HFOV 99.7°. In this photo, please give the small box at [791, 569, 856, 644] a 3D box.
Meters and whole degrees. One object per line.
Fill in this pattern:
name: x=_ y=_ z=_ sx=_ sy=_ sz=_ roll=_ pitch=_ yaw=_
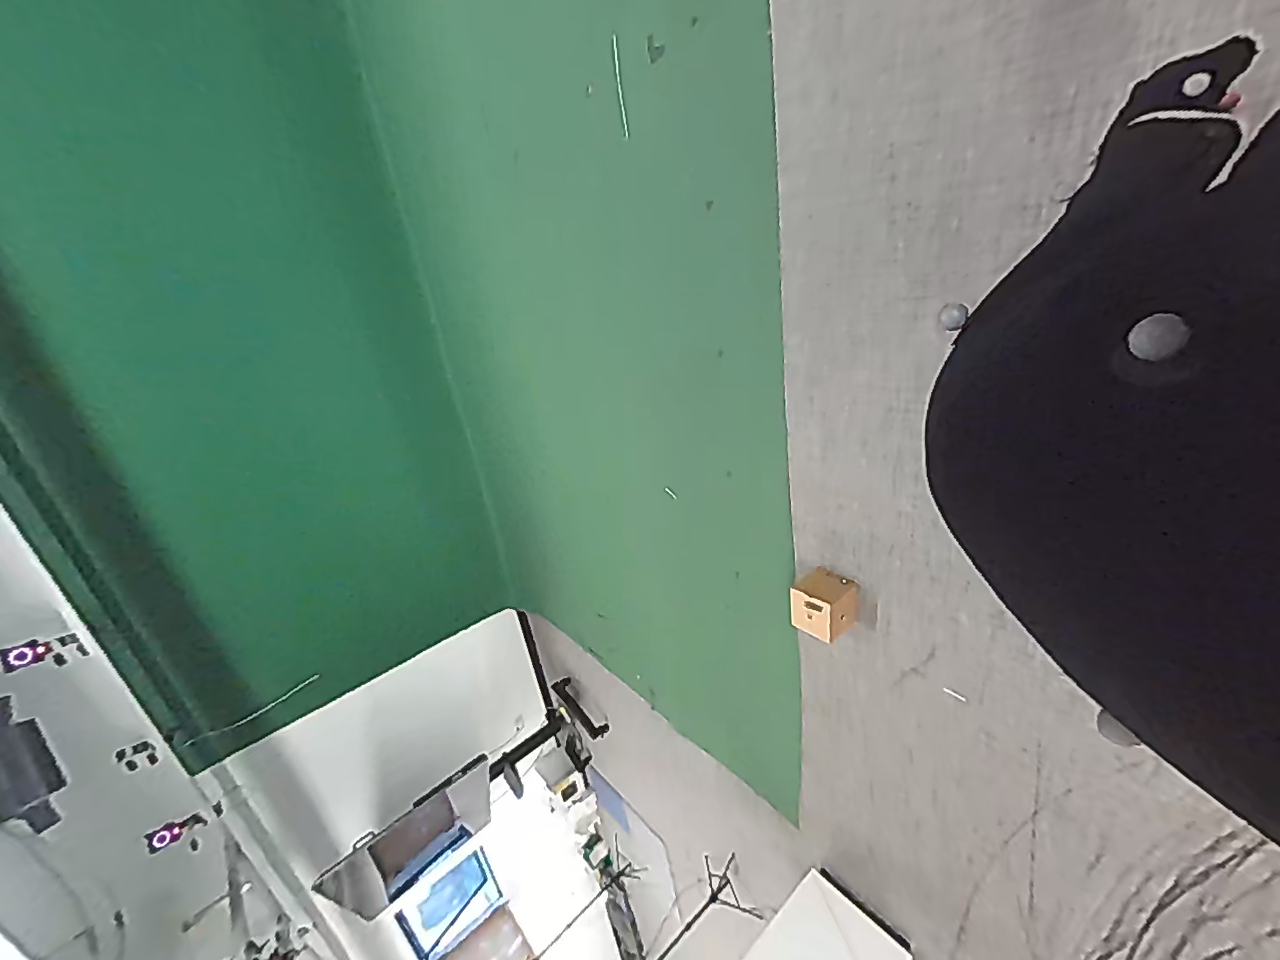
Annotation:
small box: x=0.666 y=0.452 z=1.963 sx=0.168 sy=0.176 sz=0.179 roll=21 pitch=128 yaw=47
